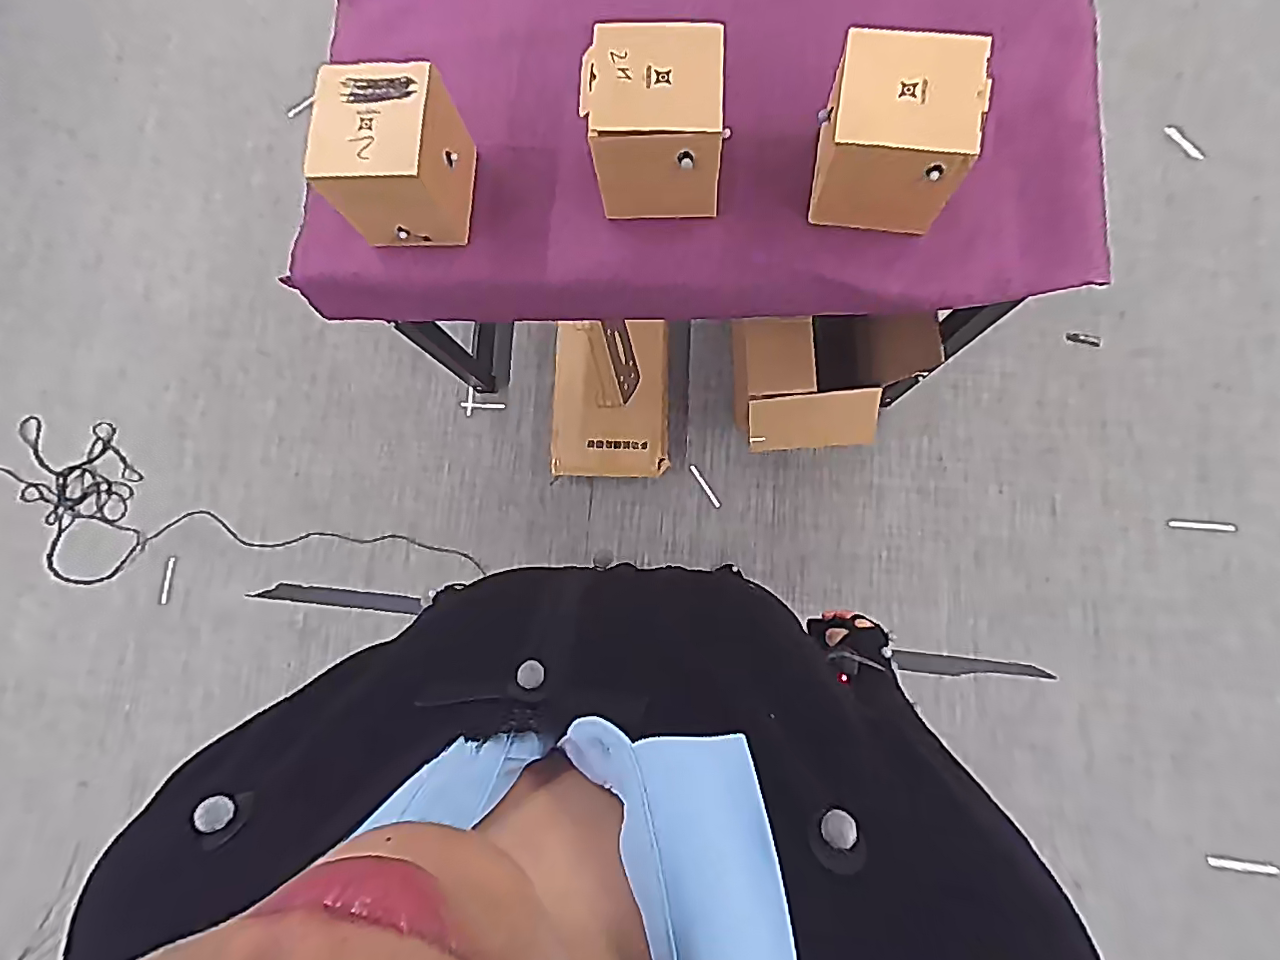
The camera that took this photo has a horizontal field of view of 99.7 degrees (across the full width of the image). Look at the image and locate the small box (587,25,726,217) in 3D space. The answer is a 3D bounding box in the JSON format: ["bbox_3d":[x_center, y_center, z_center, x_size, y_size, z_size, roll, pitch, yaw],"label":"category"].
[{"bbox_3d":[0.028,-0.503,0.779,0.179,0.176,0.168,1,80,5],"label":"small box"}]

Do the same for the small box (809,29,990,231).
[{"bbox_3d":[0.344,-0.471,0.747,0.179,0.176,0.168,9,83,6],"label":"small box"}]
